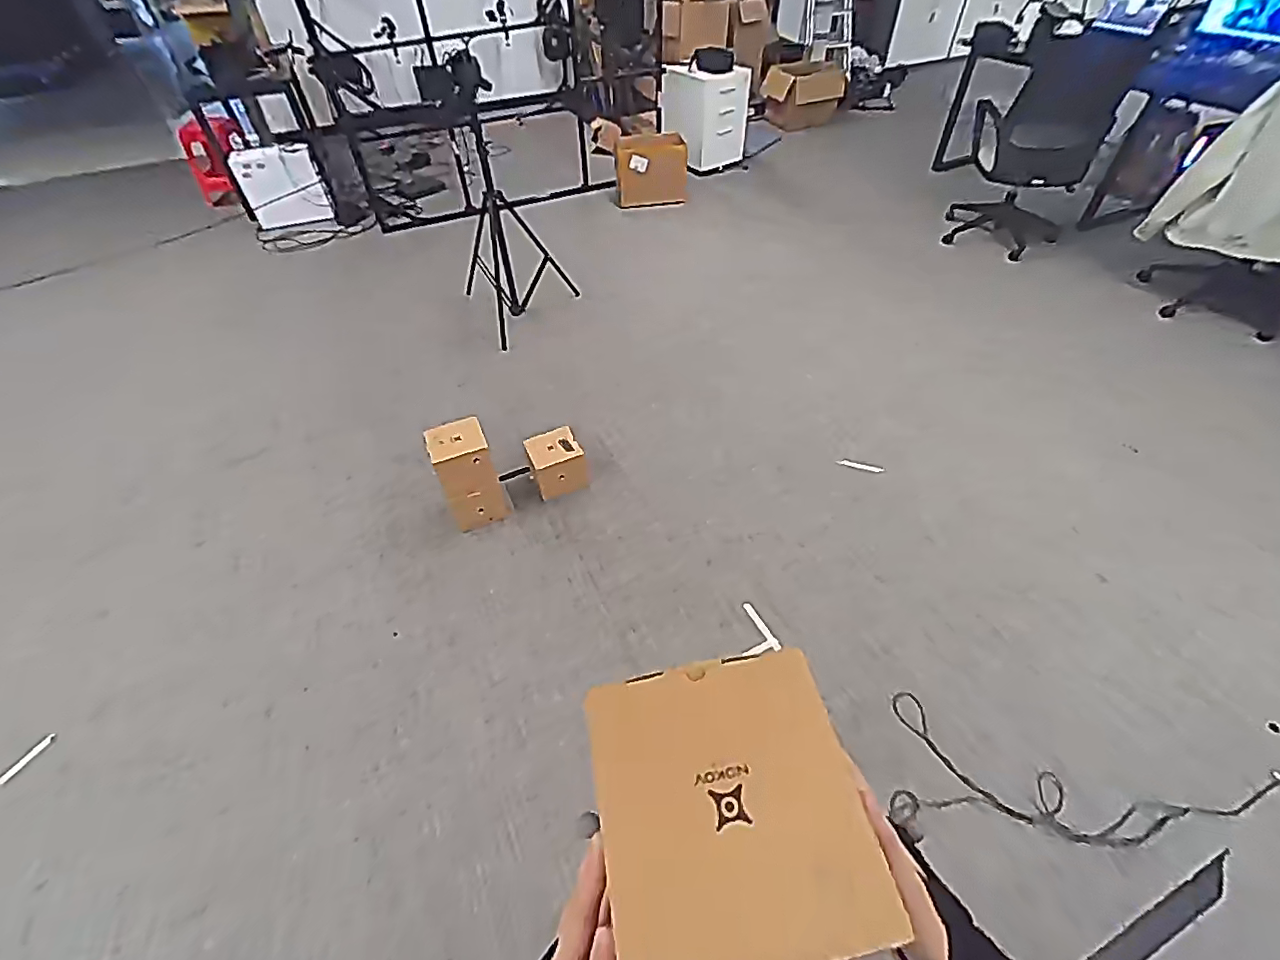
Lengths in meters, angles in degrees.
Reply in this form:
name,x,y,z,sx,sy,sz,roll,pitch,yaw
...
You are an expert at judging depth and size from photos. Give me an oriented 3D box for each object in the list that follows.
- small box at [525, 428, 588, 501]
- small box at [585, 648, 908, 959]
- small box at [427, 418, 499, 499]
name,x,y,z,sx,sy,sz,roll,pitch,yaw
small box,-0.295,-0.055,1.952,0.179,0.176,0.168,-21,50,-14
small box,0.058,0.254,0.403,0.168,0.176,0.179,-9,49,-6
small box,-0.568,-0.068,1.753,0.179,0.176,0.168,-20,49,-15
